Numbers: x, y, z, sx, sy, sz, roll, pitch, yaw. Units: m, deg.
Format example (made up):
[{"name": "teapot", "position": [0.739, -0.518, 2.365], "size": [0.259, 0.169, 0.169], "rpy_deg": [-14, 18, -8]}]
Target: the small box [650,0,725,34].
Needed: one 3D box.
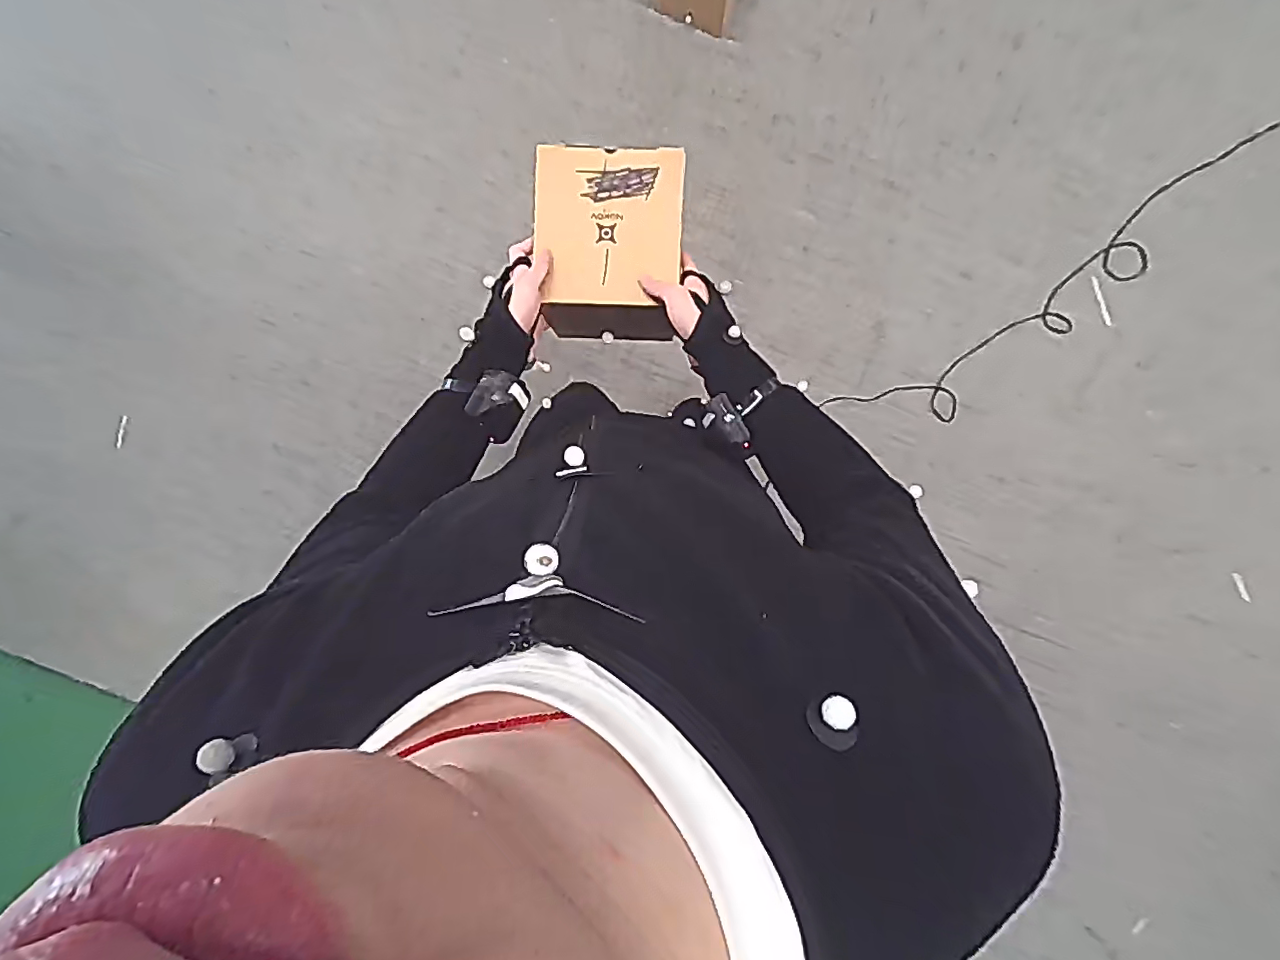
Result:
[{"name": "small box", "position": [0.130, -1.209, 1.276], "size": [0.179, 0.176, 0.168], "rpy_deg": [20, 101, 0]}]

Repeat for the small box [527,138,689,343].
[{"name": "small box", "position": [-0.034, -0.283, 0.672], "size": [0.168, 0.176, 0.179], "rpy_deg": [5, 91, 2]}]
